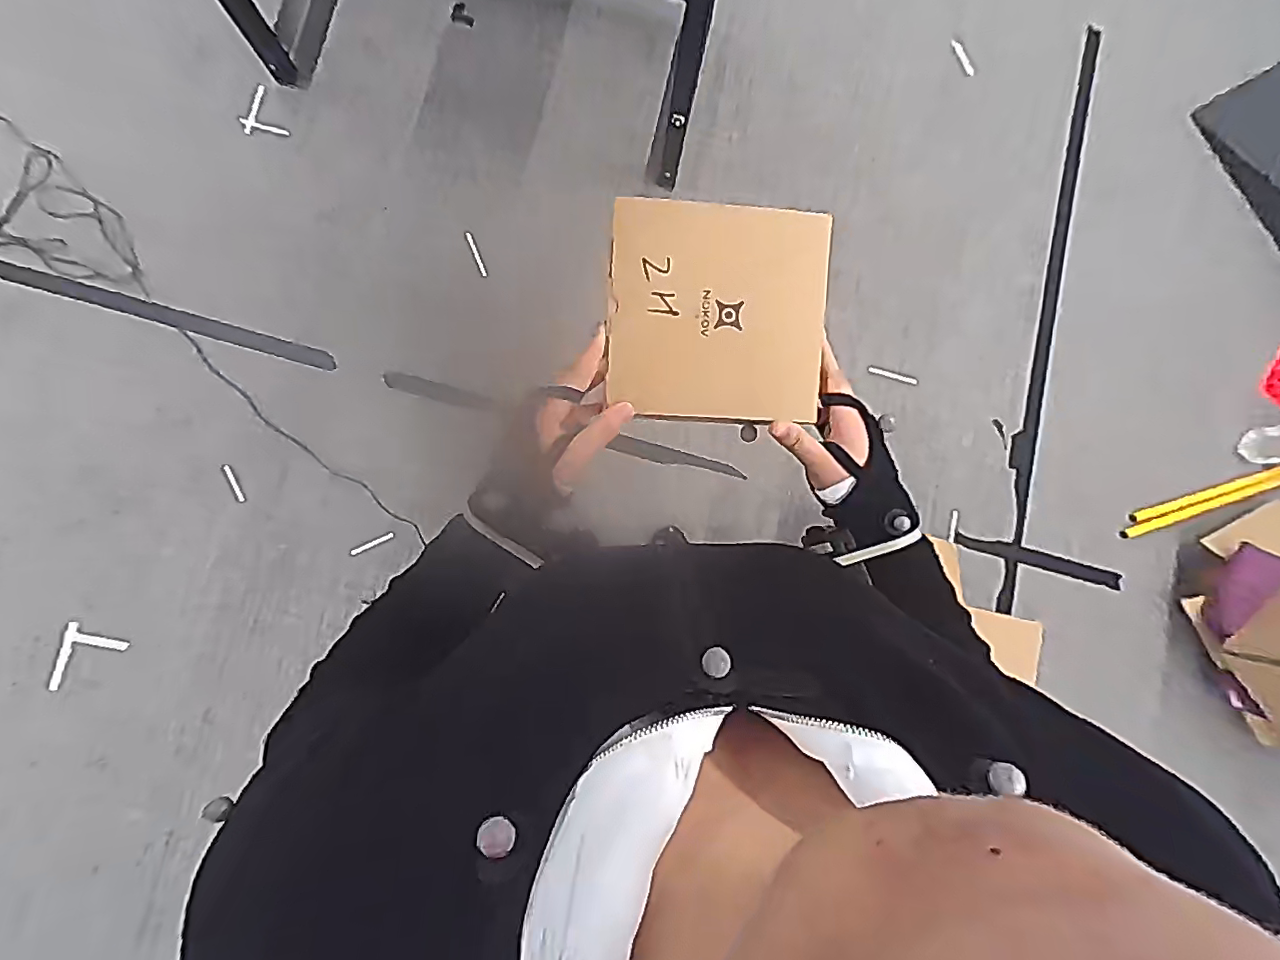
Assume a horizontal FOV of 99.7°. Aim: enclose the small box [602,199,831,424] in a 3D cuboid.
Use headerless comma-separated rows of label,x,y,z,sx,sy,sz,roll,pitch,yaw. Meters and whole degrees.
small box,0.055,-0.139,0.507,0.179,0.176,0.168,2,95,-4
